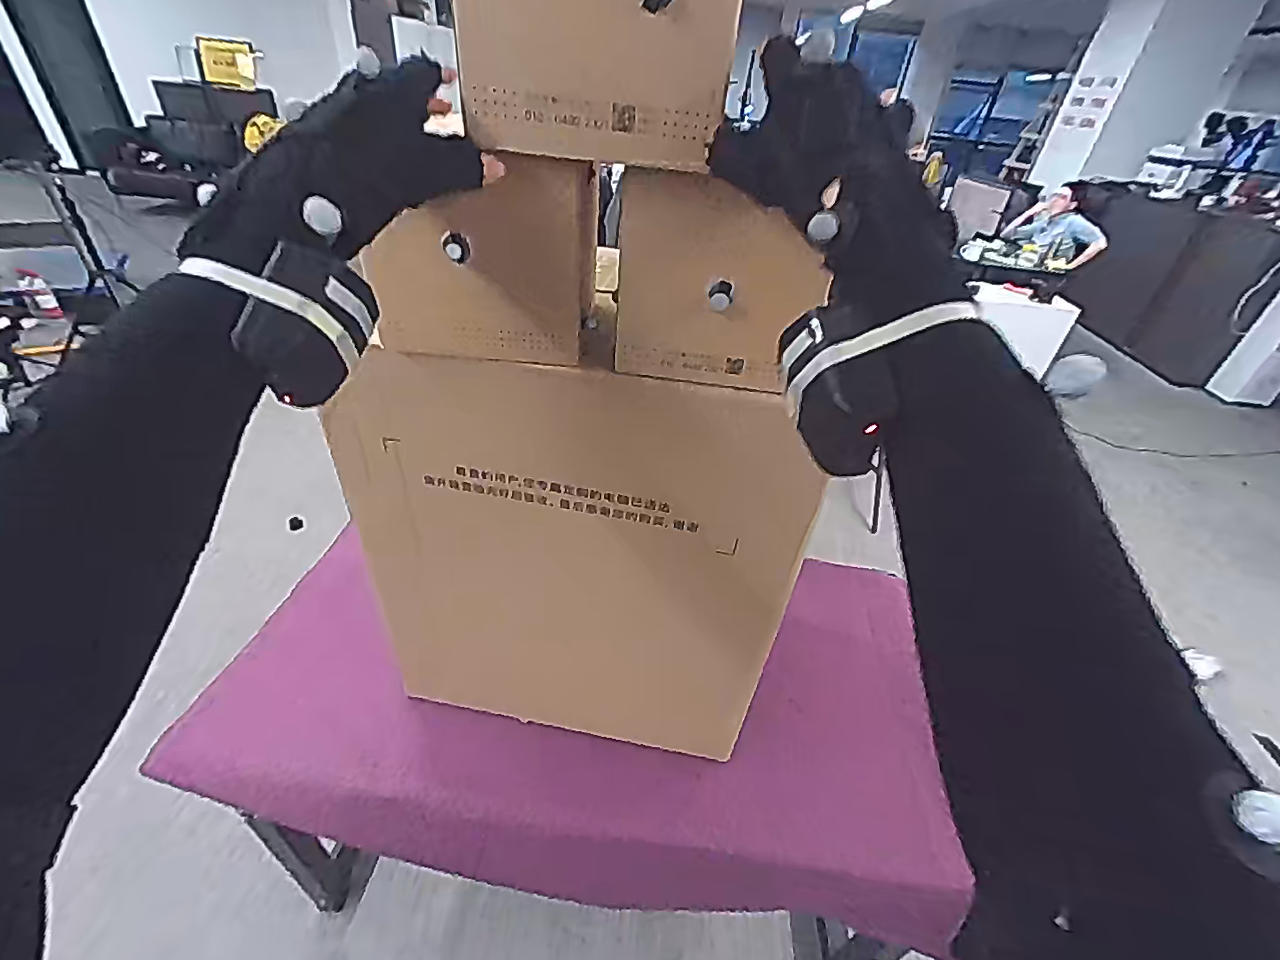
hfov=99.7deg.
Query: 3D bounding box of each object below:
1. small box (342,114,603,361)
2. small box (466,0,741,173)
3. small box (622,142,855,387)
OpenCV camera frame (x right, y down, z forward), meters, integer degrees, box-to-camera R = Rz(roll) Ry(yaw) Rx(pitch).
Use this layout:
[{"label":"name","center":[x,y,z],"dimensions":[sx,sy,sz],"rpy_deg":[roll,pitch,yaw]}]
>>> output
[{"label":"small box","center":[-0.128,-0.221,0.495],"dimensions":[0.179,0.176,0.168],"rpy_deg":[4,37,-1]},{"label":"small box","center":[-0.015,-0.325,0.378],"dimensions":[0.168,0.176,0.179],"rpy_deg":[8,37,1]},{"label":"small box","center":[0.077,-0.202,0.496],"dimensions":[0.168,0.176,0.179],"rpy_deg":[8,37,3]}]
